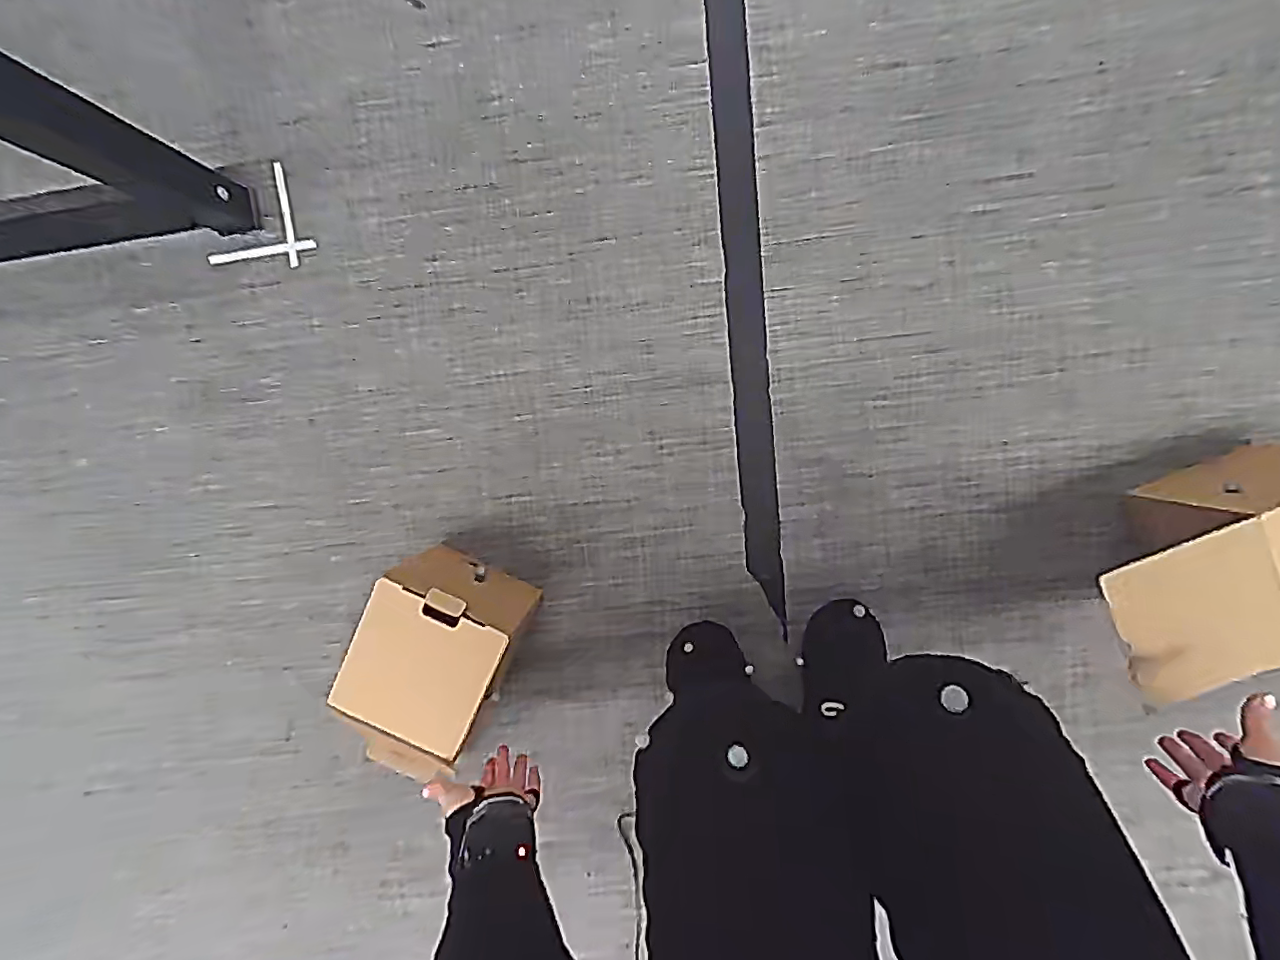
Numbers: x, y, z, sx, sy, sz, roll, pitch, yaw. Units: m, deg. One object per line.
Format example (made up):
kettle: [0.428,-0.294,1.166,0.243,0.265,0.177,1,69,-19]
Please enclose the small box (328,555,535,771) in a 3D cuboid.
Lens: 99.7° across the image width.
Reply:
small box: [-0.253,0.222,0.700,0.168,0.176,0.179,25,96,0]
